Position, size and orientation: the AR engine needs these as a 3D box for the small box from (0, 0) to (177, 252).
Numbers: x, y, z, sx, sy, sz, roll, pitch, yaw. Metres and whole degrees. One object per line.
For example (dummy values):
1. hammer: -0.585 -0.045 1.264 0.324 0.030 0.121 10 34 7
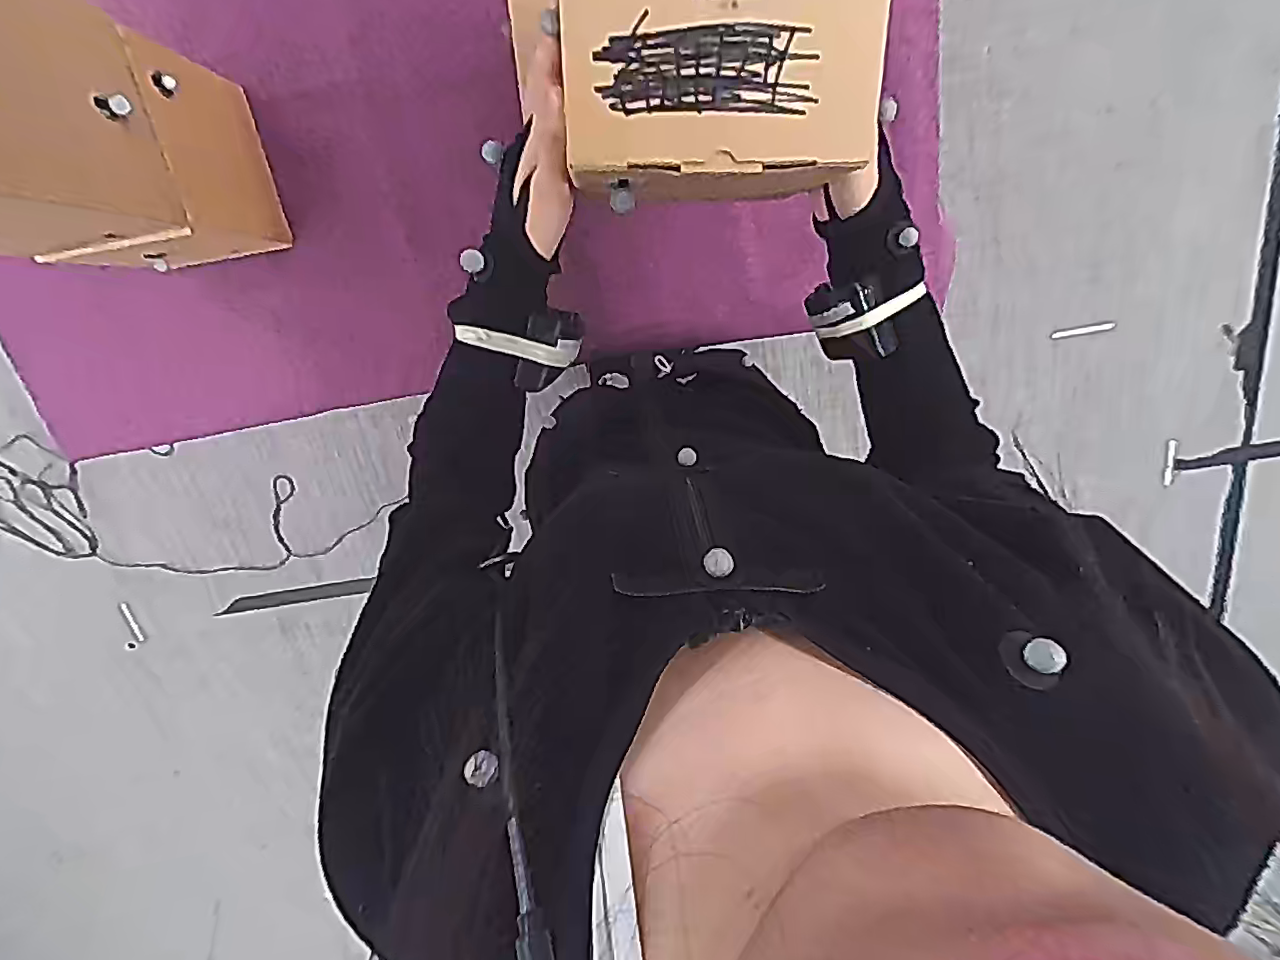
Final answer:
1. small box: -0.526 -0.288 0.415 0.168 0.176 0.179 -9 107 3

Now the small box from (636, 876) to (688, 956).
1. small box: 0.080 1.593 1.986 0.168 0.176 0.179 -10 109 5

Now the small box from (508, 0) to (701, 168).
1. small box: -0.031 -0.432 0.537 0.168 0.176 0.179 -4 109 2

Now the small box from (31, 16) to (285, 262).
1. small box: -0.524 -0.335 0.572 0.168 0.176 0.179 -9 108 3
